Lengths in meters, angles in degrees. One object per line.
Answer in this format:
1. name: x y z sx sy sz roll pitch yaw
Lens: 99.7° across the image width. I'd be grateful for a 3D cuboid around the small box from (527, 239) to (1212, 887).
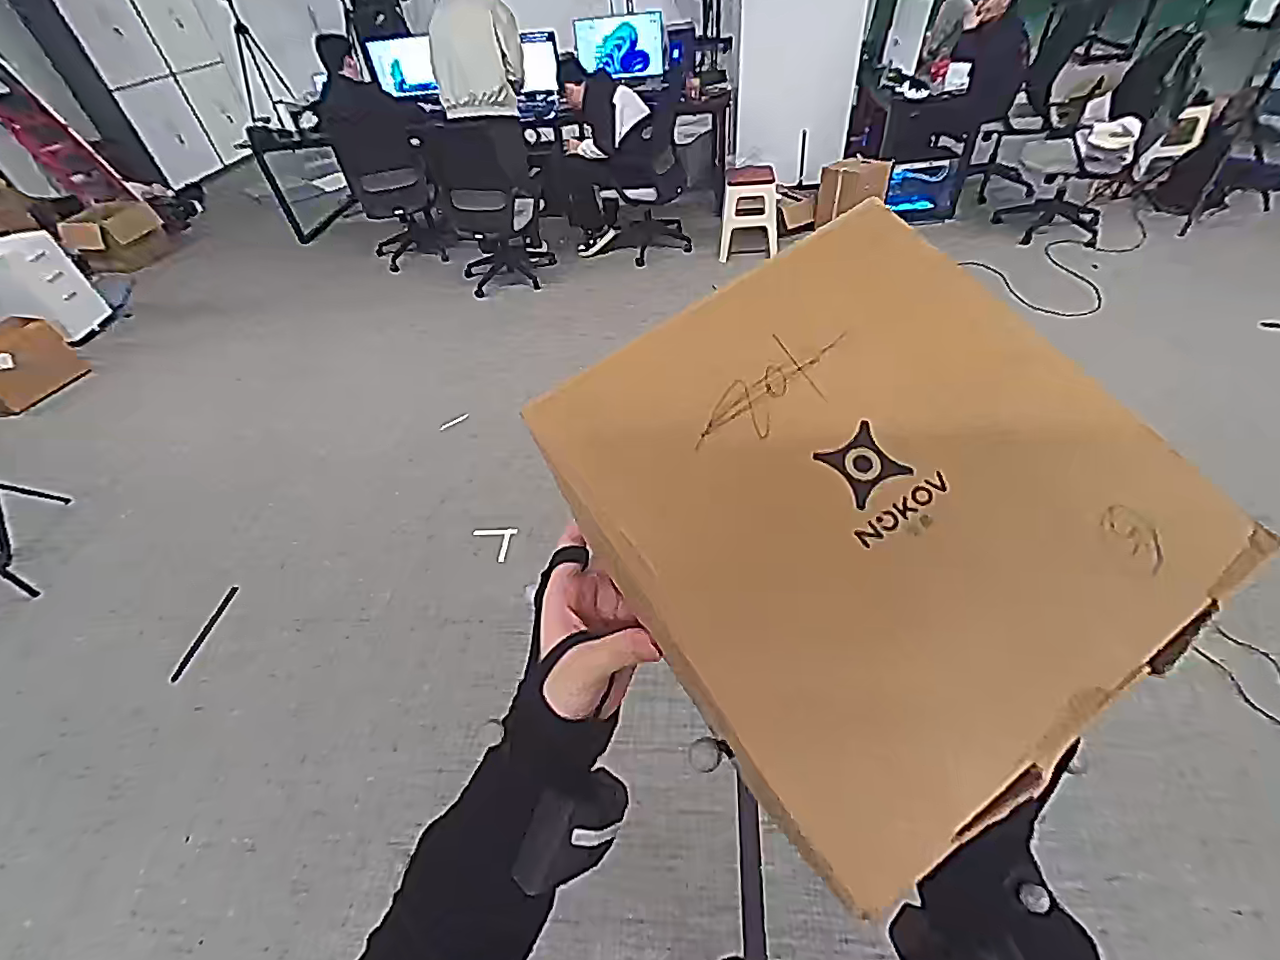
1. small box: 0.075 0.034 0.262 0.168 0.176 0.179 -33 70 -11
